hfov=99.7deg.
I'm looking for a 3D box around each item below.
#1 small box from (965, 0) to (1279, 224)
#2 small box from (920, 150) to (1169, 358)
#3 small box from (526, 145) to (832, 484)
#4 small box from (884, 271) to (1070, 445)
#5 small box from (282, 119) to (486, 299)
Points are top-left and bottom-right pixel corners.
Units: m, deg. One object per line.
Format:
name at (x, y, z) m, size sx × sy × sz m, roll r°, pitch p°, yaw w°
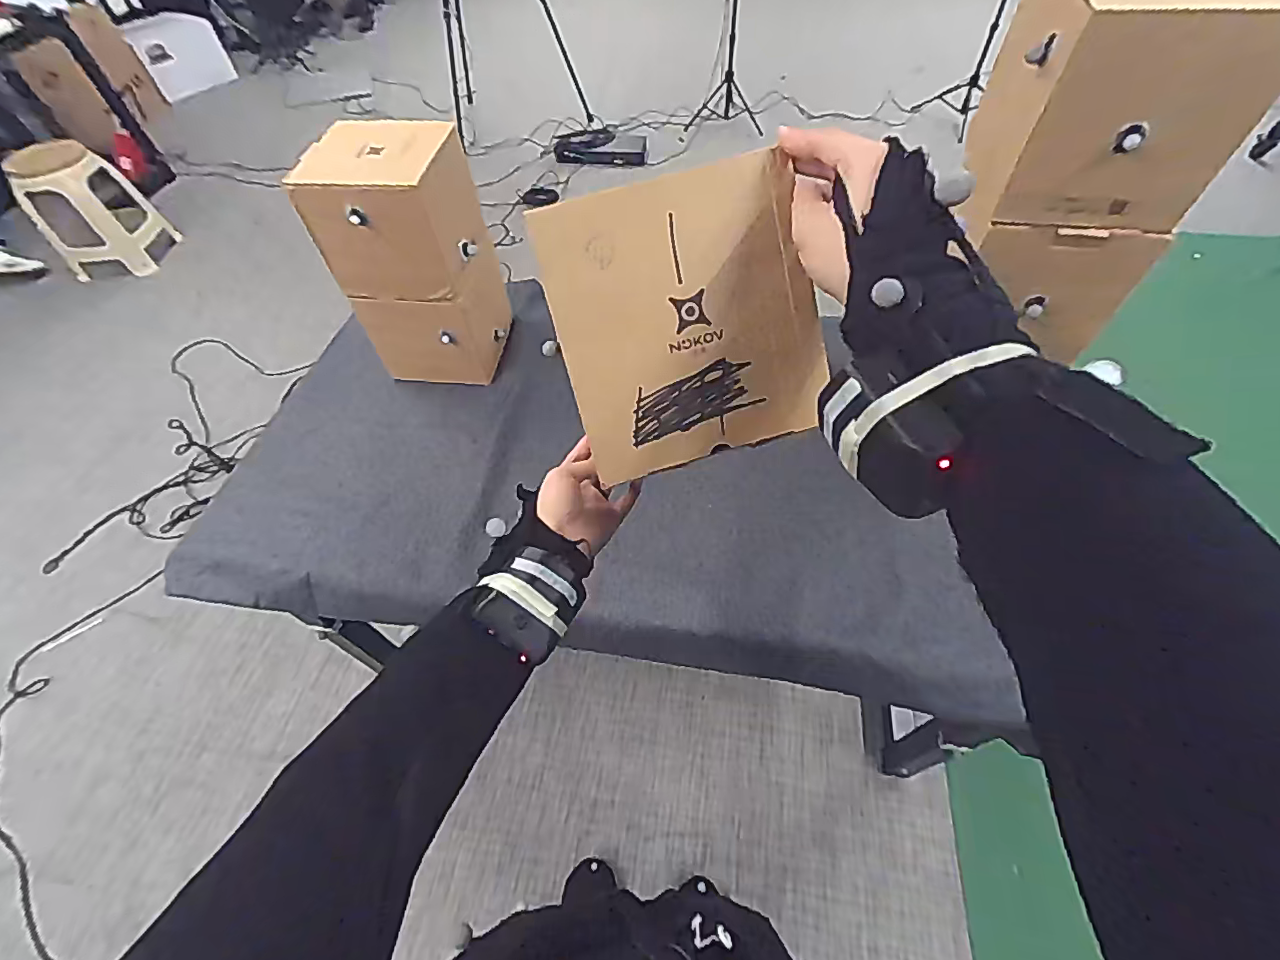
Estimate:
small box at (0.434, -0.362, 0.504) m, size 0.168 × 0.176 × 0.179 m, roll 8°, pitch 56°, yaw 8°
small box at (0.449, -0.266, 0.638) m, size 0.168 × 0.176 × 0.179 m, roll 9°, pitch 57°, yaw 9°
small box at (0.023, -0.118, 0.416) m, size 0.168 × 0.179 × 0.176 m, roll -17°, pitch 16°, yaw -3°
small box at (0.460, -0.176, 0.774) m, size 0.168 × 0.176 × 0.179 m, roll 8°, pitch 56°, yaw 9°
small box at (-0.337, -0.373, 0.755) m, size 0.179 × 0.176 × 0.168 m, roll 4°, pitch 57°, yaw 4°
